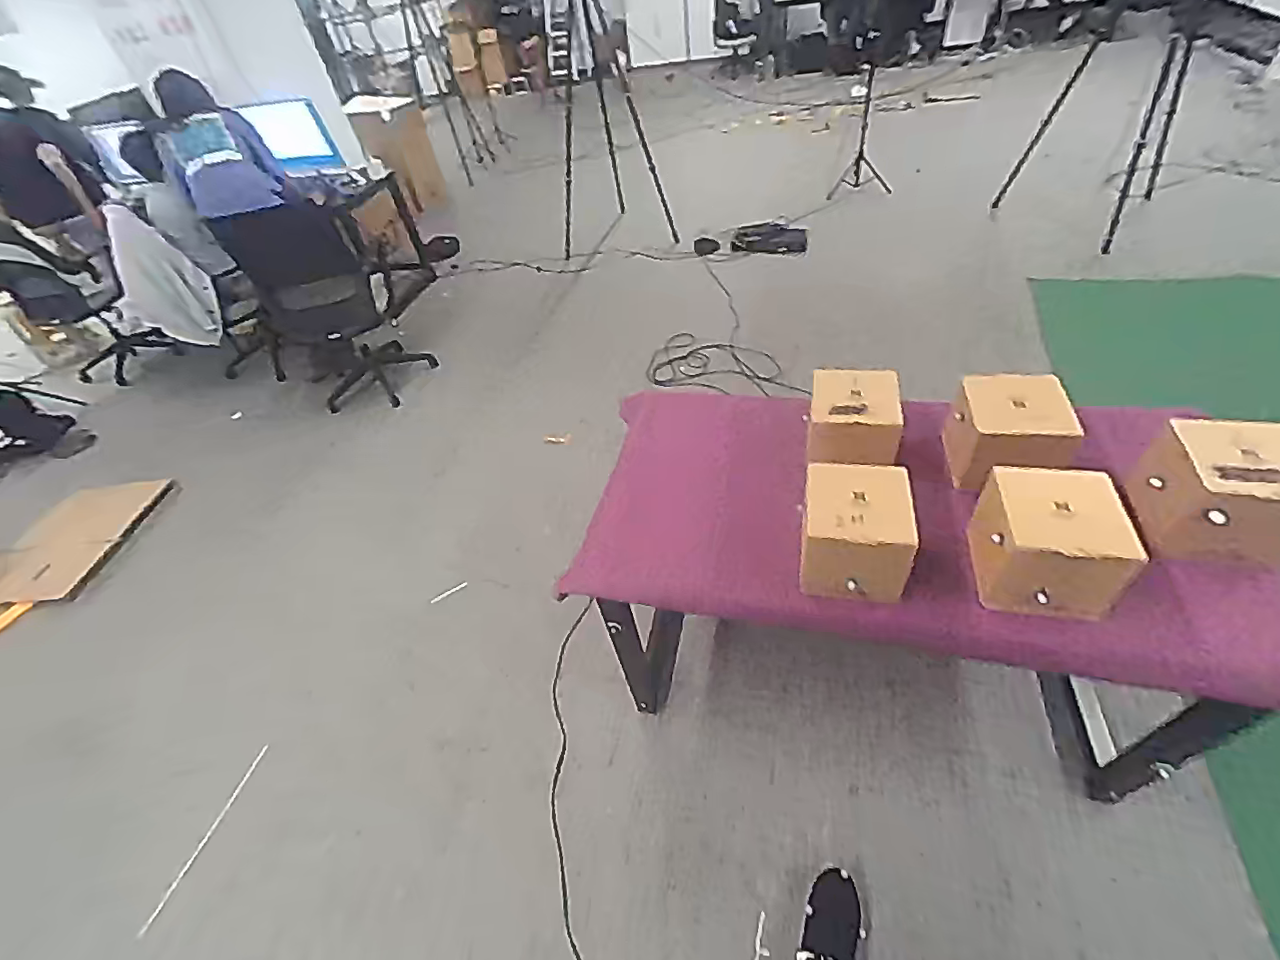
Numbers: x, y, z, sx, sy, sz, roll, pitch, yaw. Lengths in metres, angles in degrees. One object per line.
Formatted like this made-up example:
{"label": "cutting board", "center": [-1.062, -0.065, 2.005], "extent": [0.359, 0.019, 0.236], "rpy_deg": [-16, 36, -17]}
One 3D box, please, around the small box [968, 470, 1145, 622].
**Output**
{"label": "small box", "center": [0.667, 0.107, 0.896], "extent": [0.168, 0.176, 0.179], "rpy_deg": [5, 47, 15]}

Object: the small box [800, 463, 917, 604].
{"label": "small box", "center": [0.378, 0.093, 0.962], "extent": [0.168, 0.176, 0.179], "rpy_deg": [4, 46, 15]}

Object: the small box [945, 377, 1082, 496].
{"label": "small box", "center": [0.722, -0.083, 1.070], "extent": [0.168, 0.176, 0.179], "rpy_deg": [4, 48, 16]}

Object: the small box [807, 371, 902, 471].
{"label": "small box", "center": [0.449, -0.111, 1.148], "extent": [0.168, 0.176, 0.179], "rpy_deg": [5, 47, 15]}
